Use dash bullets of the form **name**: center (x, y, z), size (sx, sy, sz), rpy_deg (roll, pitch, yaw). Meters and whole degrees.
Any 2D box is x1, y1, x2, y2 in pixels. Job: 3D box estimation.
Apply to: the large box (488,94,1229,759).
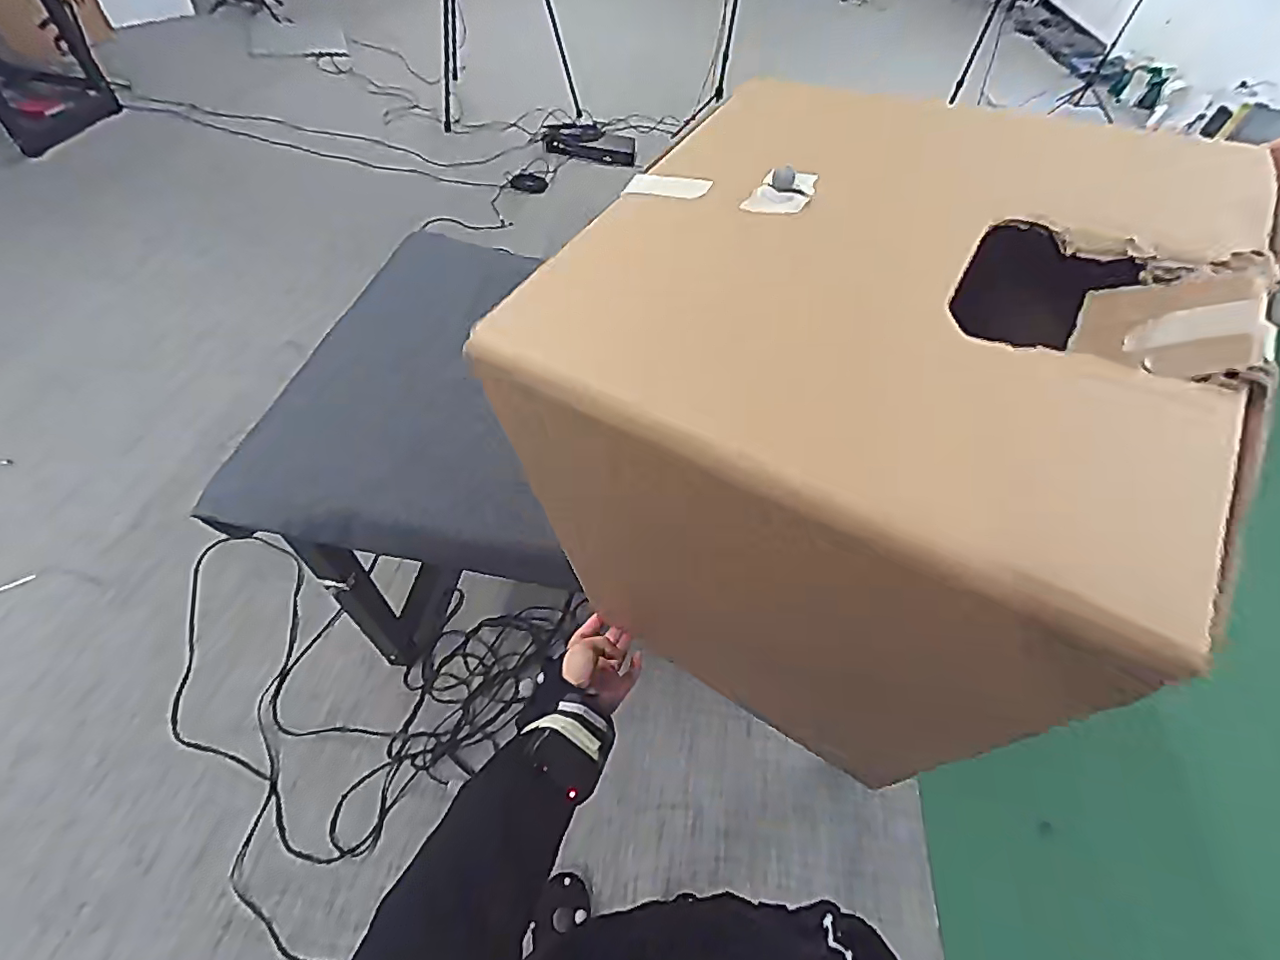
- **large box**: center (0.140, -0.014, 0.453), size (0.320, 0.408, 0.320), rpy_deg (26, 64, 21)
